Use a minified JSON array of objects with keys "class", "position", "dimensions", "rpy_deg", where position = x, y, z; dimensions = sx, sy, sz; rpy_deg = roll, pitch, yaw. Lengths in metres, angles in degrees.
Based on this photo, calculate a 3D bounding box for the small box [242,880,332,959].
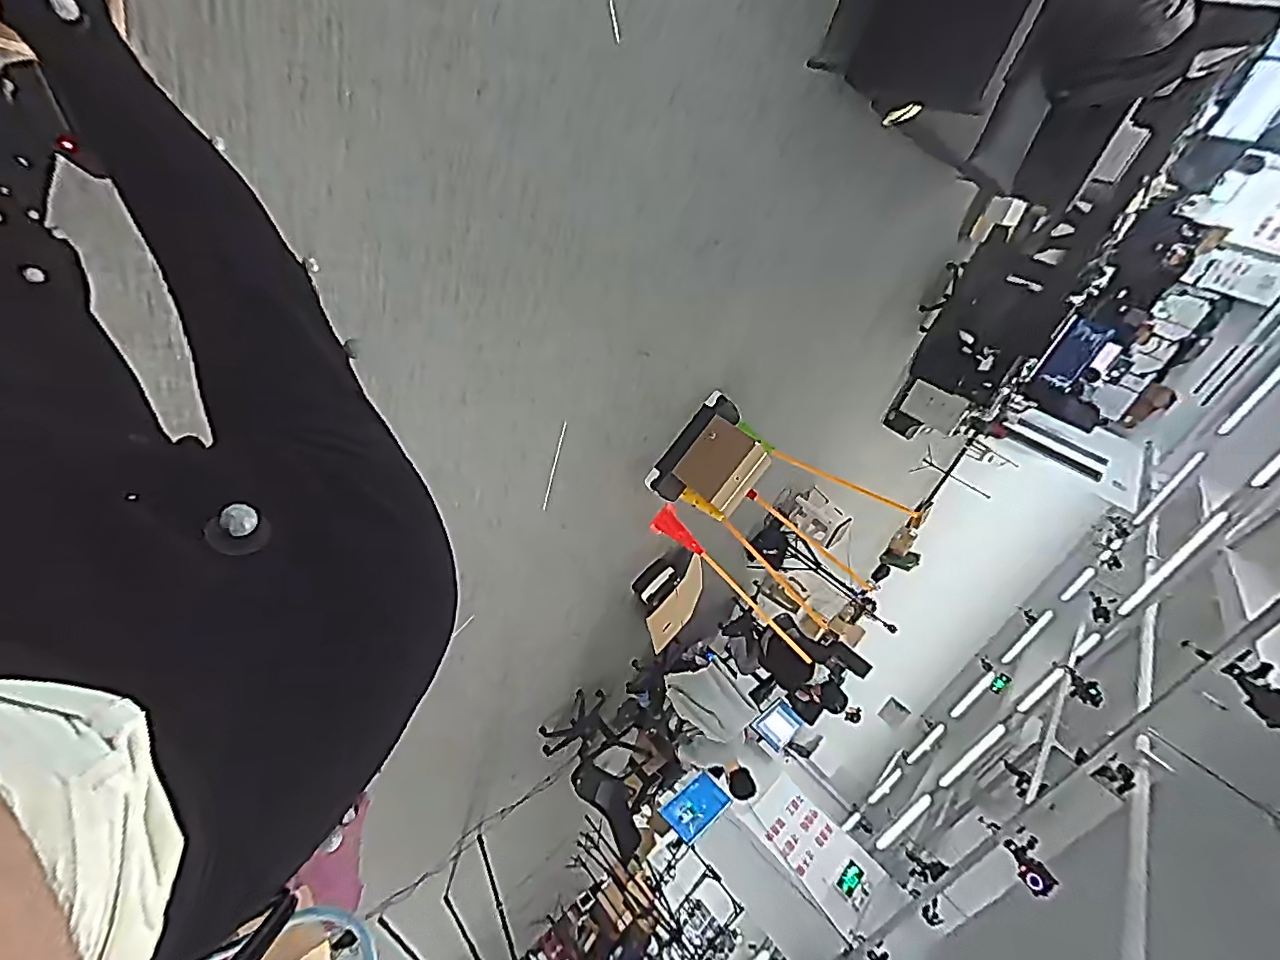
[{"class":"small box","position":[-0.967,1.255,1.483],"dimensions":[0.168,0.176,0.179],"rpy_deg":[-18,137,-43]}]
